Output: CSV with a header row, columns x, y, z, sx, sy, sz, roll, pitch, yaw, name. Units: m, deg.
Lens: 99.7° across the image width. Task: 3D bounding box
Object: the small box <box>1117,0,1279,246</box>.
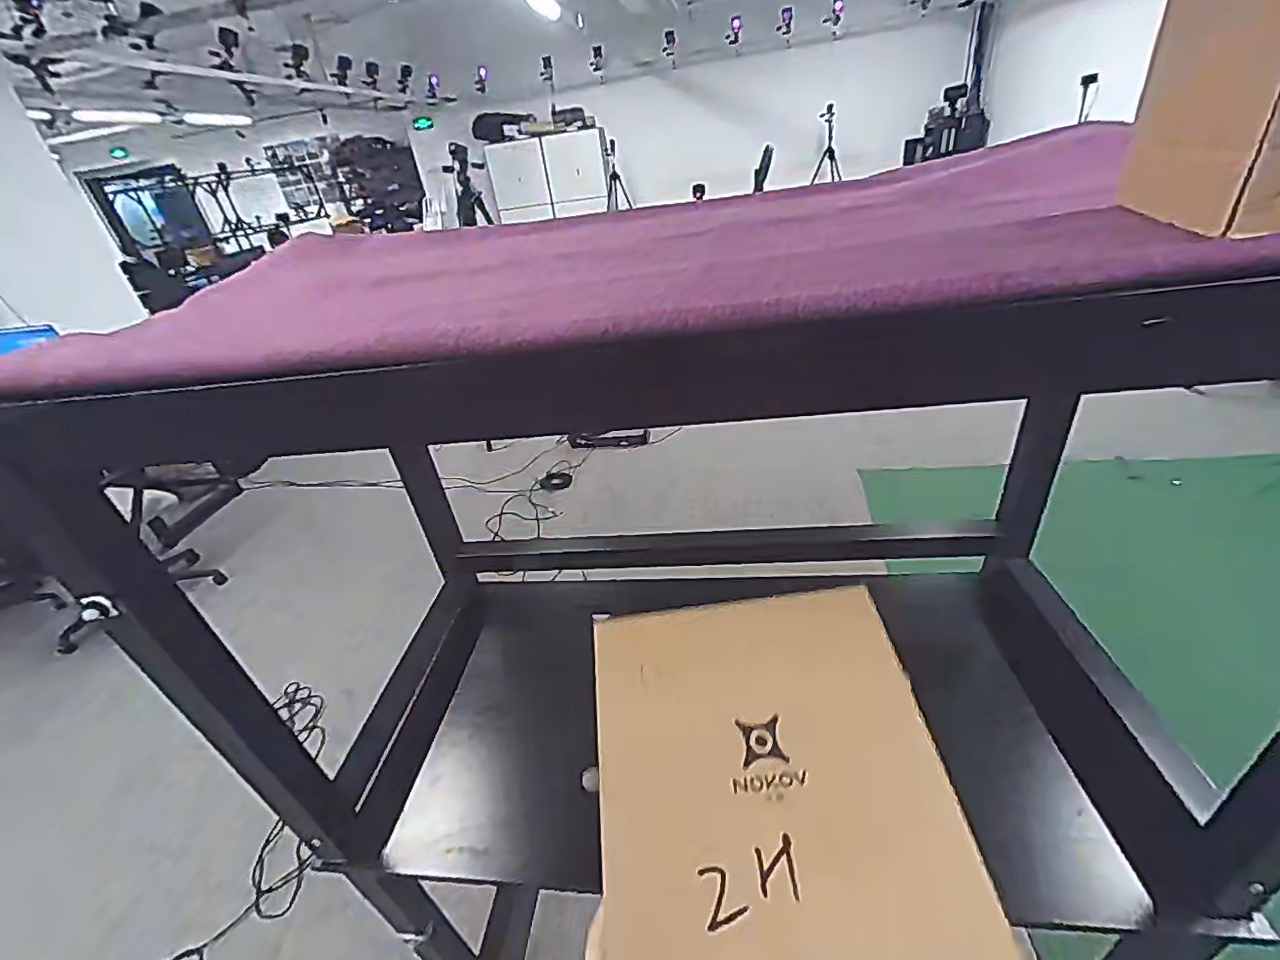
x,y,z,sx,sy,sz,roll,pitch,yaw,name
0.429,-0.243,0.315,0.168,0.176,0.179,2,35,18,small box
